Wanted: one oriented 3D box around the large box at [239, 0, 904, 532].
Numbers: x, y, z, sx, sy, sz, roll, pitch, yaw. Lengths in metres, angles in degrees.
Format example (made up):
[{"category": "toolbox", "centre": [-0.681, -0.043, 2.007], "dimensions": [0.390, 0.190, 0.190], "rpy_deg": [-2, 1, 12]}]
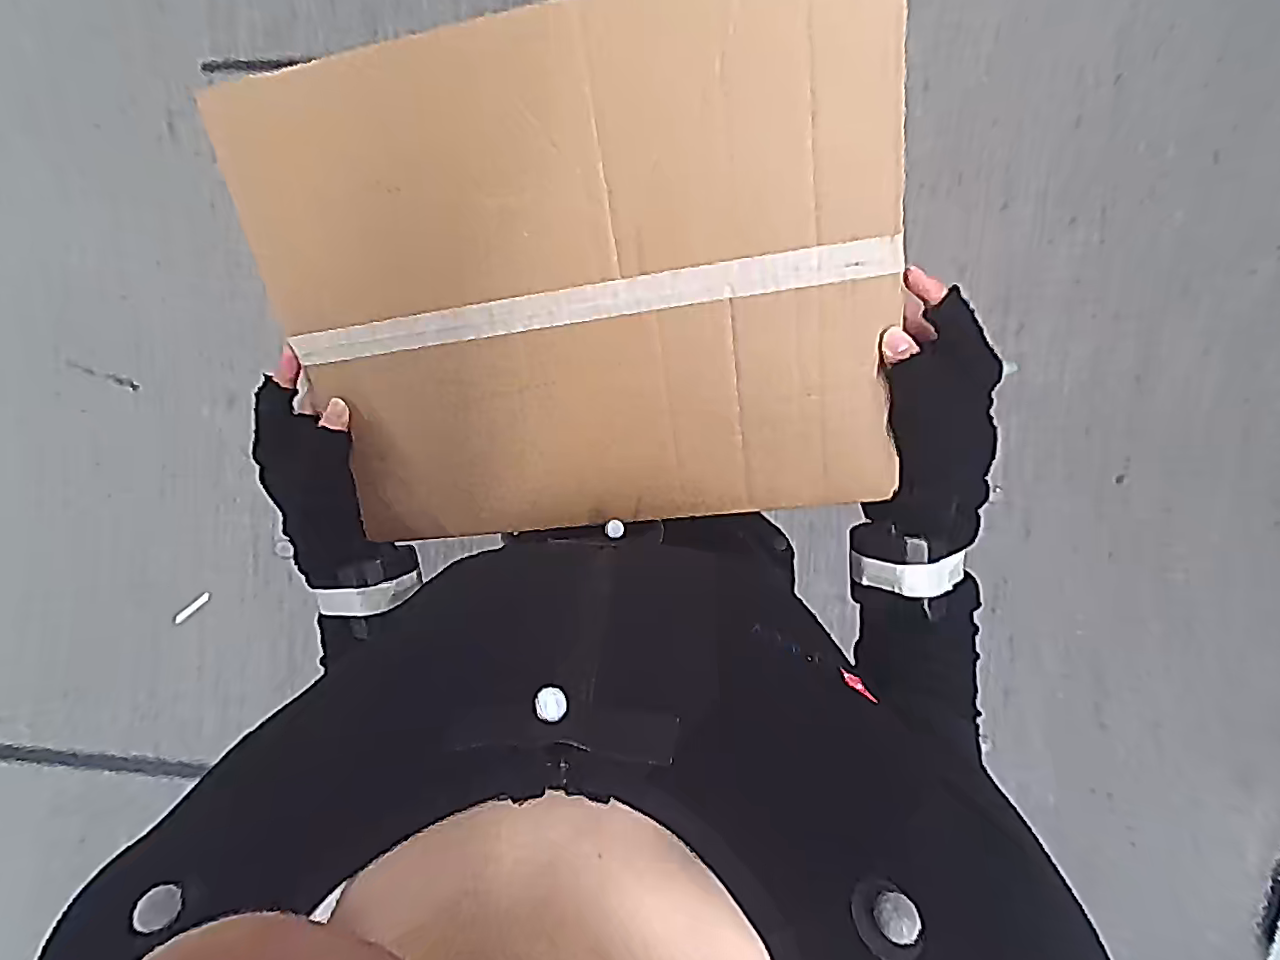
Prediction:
[{"category": "large box", "centre": [-0.022, -0.172, 0.494], "dimensions": [0.408, 0.320, 0.320], "rpy_deg": [-5, 112, 10]}]
